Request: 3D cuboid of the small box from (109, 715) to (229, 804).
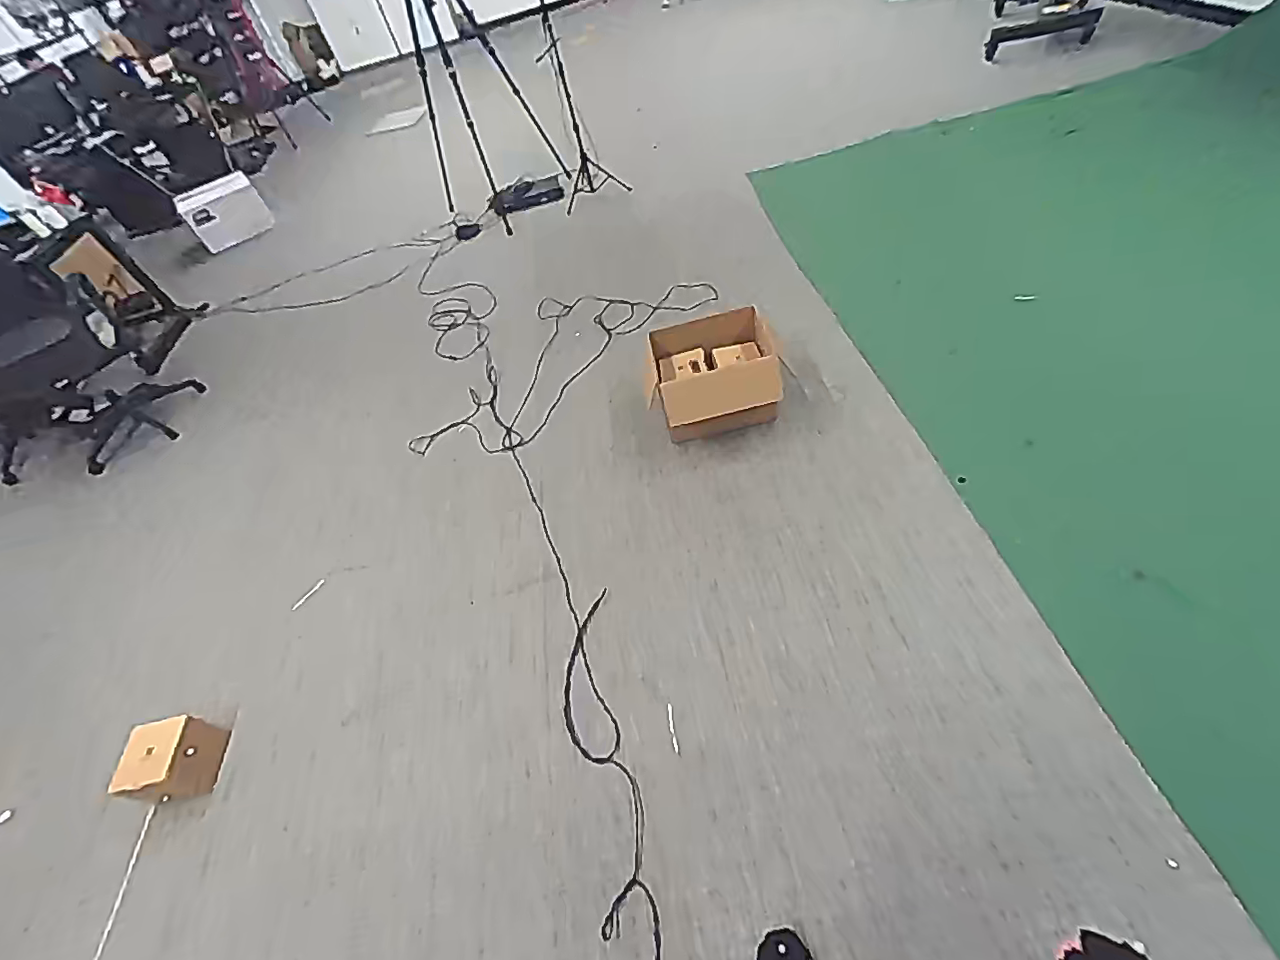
[{"bbox_3d":[-1.326,0.799,1.540,0.168,0.176,0.179,-15,50,2],"label":"small box"}]
